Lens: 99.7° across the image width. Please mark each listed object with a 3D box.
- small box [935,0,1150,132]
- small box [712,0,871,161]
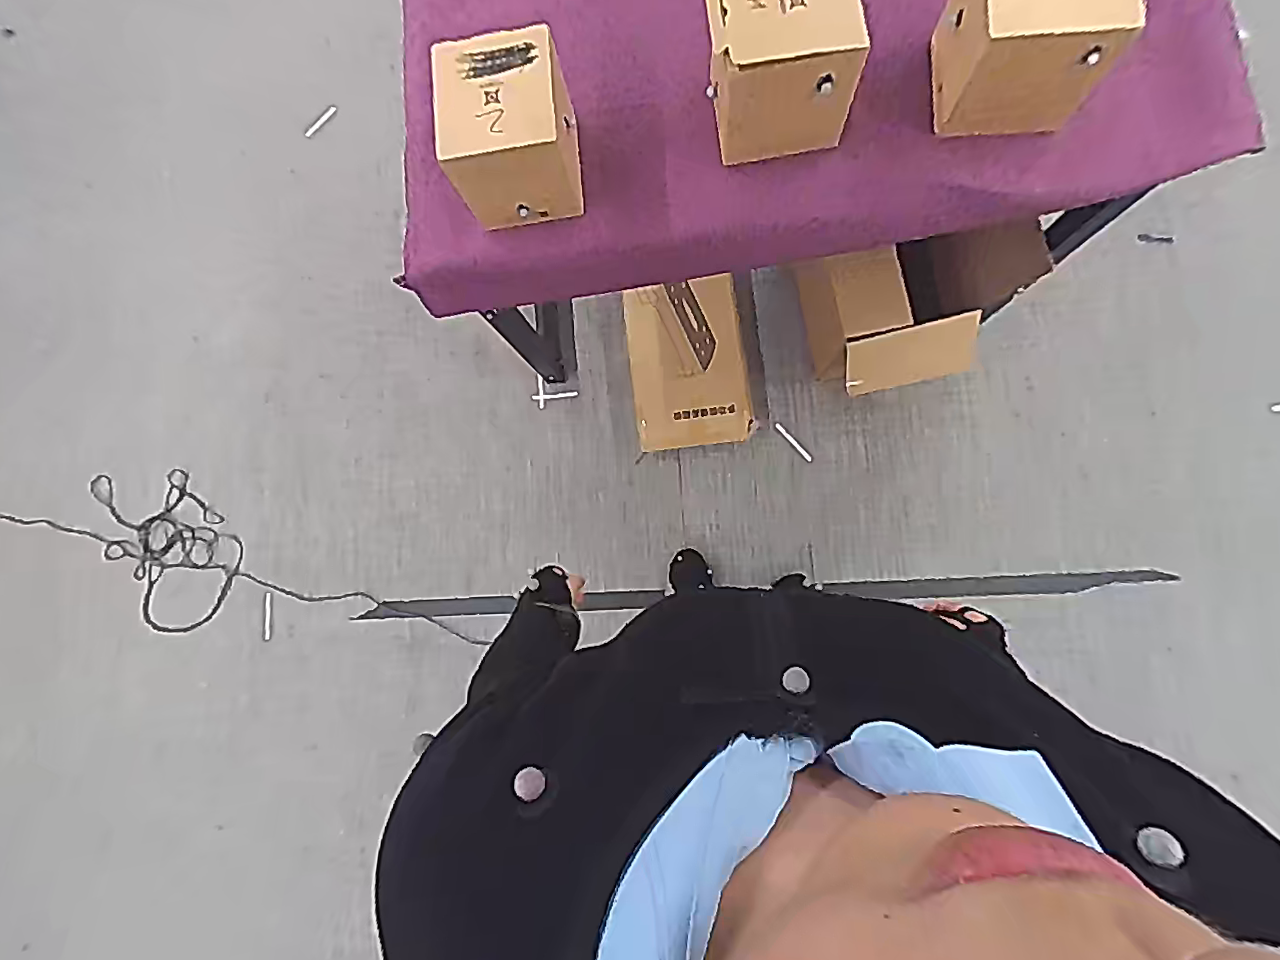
[{"bbox_3d":[0.515,-0.600,0.724,0.179,0.176,0.168,0,84,6],"label":"small box"},{"bbox_3d":[0.199,-0.587,0.757,0.179,0.176,0.168,-7,81,6],"label":"small box"}]
